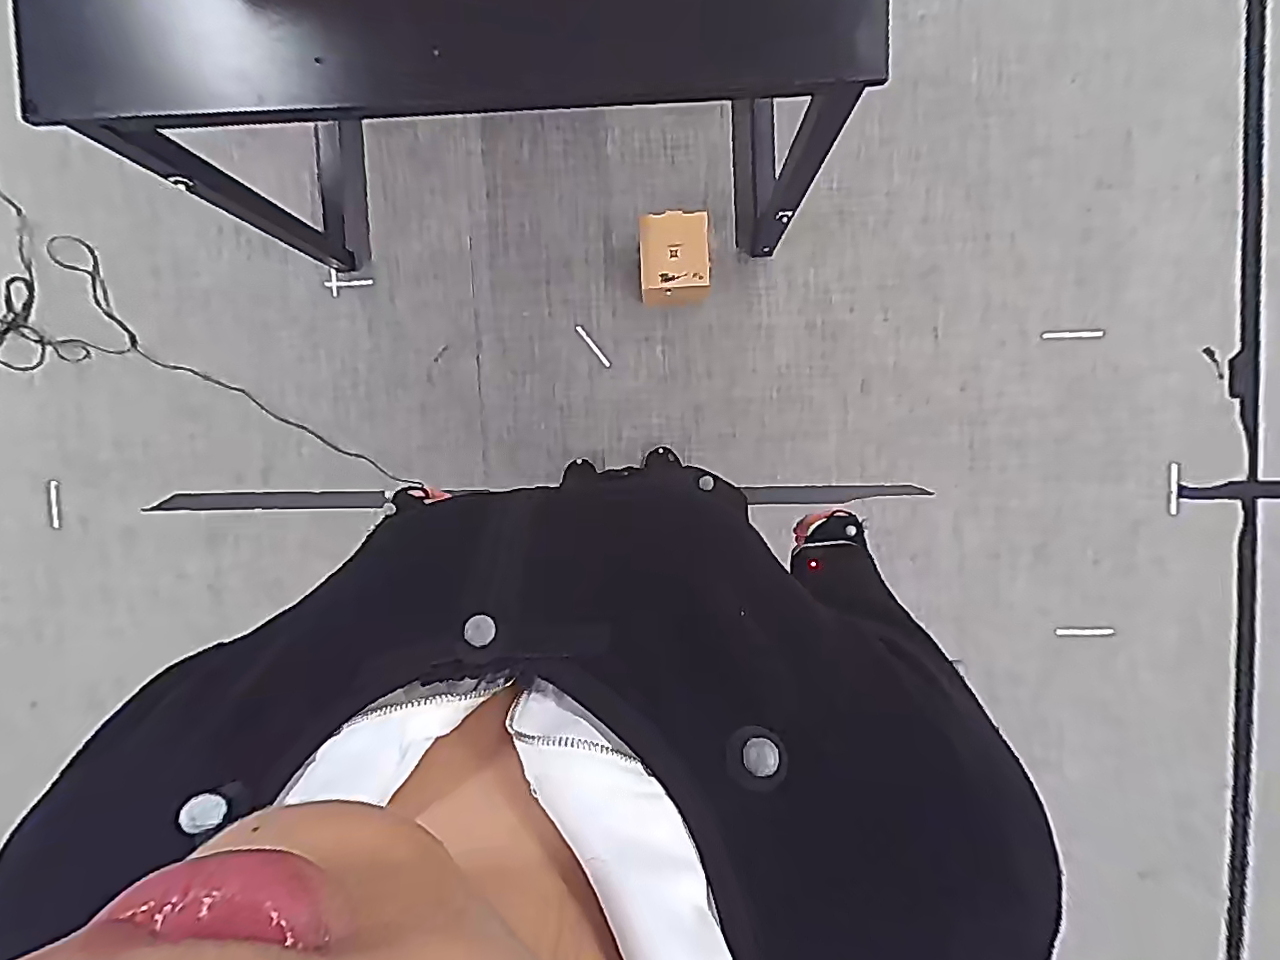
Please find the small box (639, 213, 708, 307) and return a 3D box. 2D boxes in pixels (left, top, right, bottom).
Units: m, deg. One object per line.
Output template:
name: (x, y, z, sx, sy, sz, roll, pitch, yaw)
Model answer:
small box: (0.082, -0.553, 1.376, 0.168, 0.176, 0.179, -2, 93, 3)
